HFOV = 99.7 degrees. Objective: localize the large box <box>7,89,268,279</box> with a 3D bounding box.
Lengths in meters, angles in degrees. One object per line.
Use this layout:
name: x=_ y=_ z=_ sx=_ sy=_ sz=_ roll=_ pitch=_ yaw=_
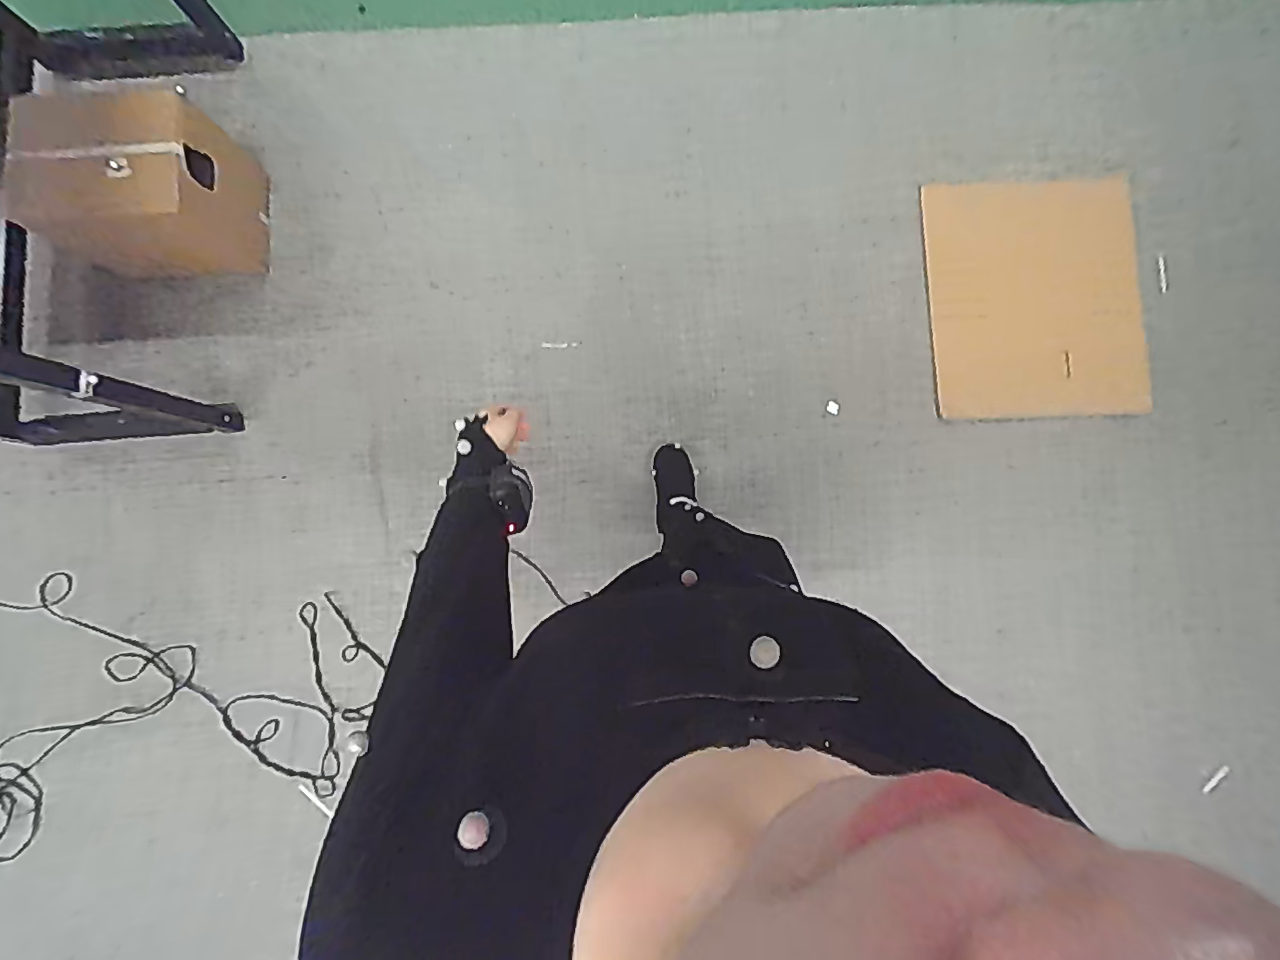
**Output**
large box: x=-1.271 y=-0.748 z=1.409 sx=0.408 sy=0.320 sz=0.320 roll=-3 pitch=86 yaw=-2
